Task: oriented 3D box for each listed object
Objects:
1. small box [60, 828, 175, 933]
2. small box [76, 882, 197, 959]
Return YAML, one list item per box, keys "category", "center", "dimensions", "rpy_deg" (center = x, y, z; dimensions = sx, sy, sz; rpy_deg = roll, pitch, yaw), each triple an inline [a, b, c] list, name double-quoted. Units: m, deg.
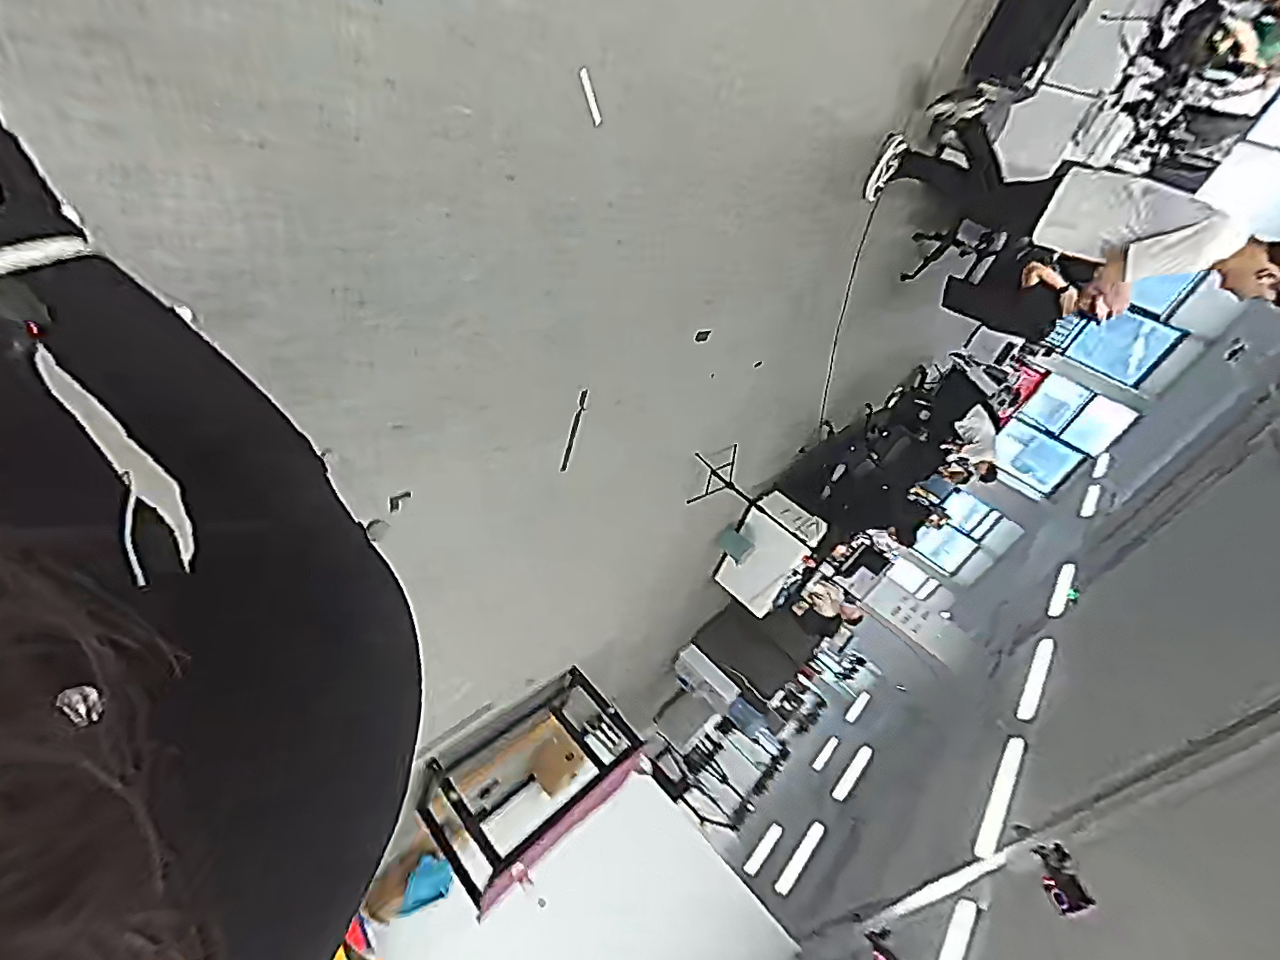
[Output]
- category: "small box"
  center: [-1.375, 1.066, 1.426]
  dimensions: [0.168, 0.176, 0.179]
  rpy_deg: [-24, 145, -42]
- category: "small box"
  center: [-1.259, 1.159, 1.355]
  dimensions: [0.168, 0.176, 0.179]
  rpy_deg: [-26, 144, -40]
